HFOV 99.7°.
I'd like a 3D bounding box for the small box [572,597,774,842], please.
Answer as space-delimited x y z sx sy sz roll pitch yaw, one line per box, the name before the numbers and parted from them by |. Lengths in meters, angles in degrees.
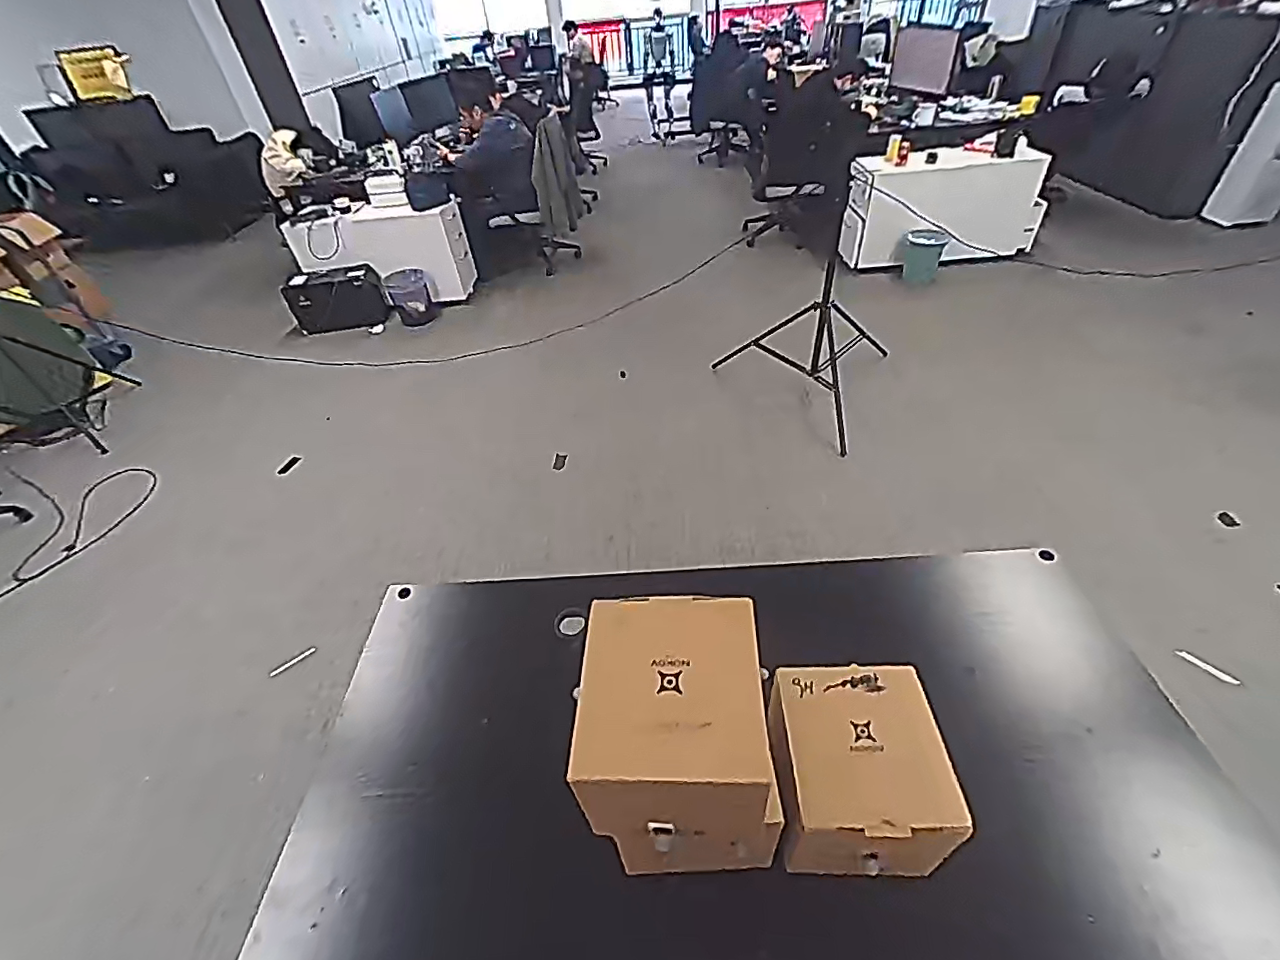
small box | 0.037 0.238 0.546 0.168 0.176 0.179 -3 43 6
